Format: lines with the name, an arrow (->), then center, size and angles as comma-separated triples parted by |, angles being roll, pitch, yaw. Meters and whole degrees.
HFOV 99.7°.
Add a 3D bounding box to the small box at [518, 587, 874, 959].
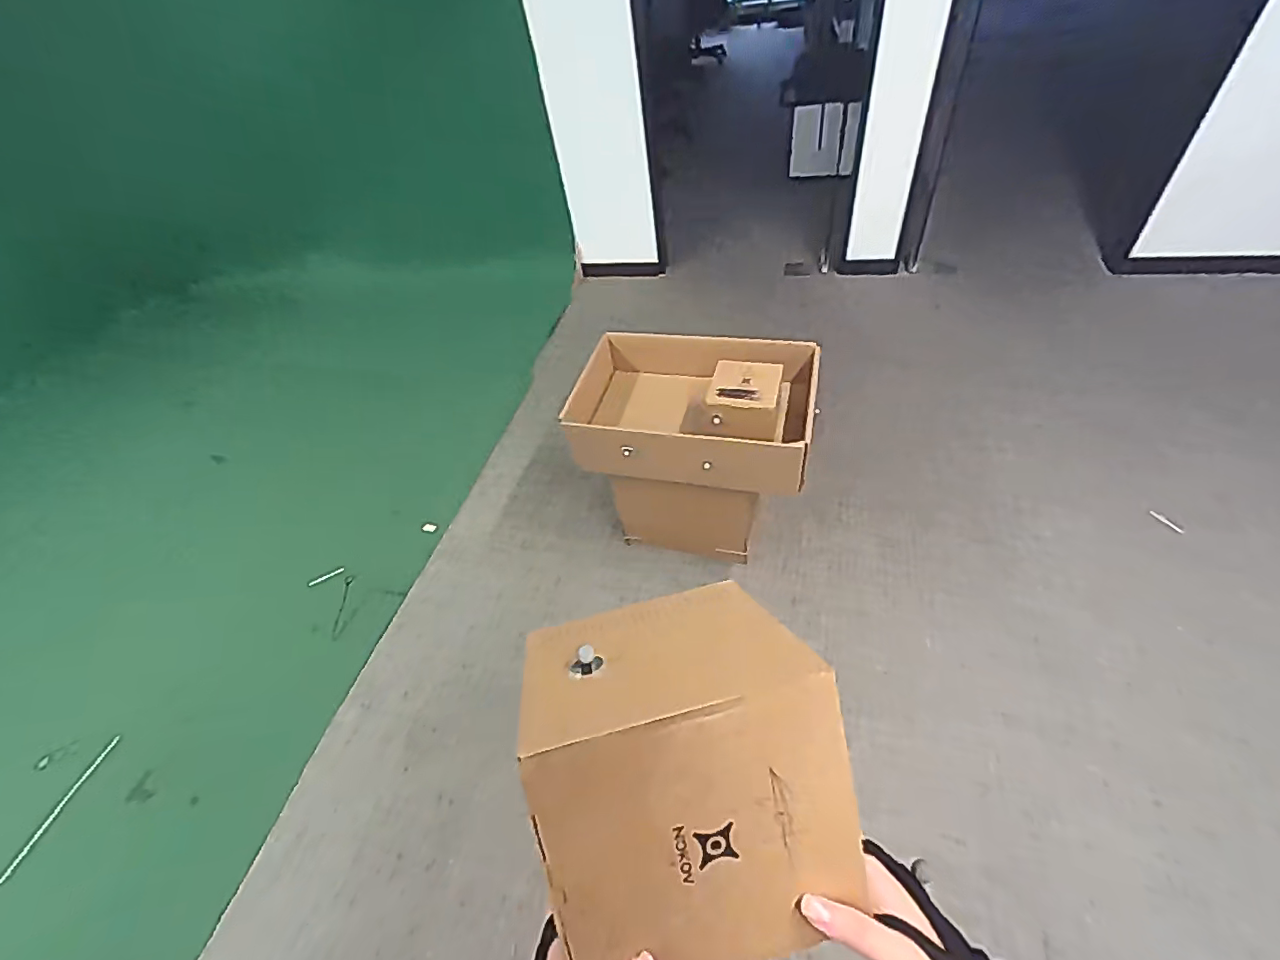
small box -> 0.025, 0.190, 0.370 | 0.179, 0.168, 0.176 | -12, 9, -8
